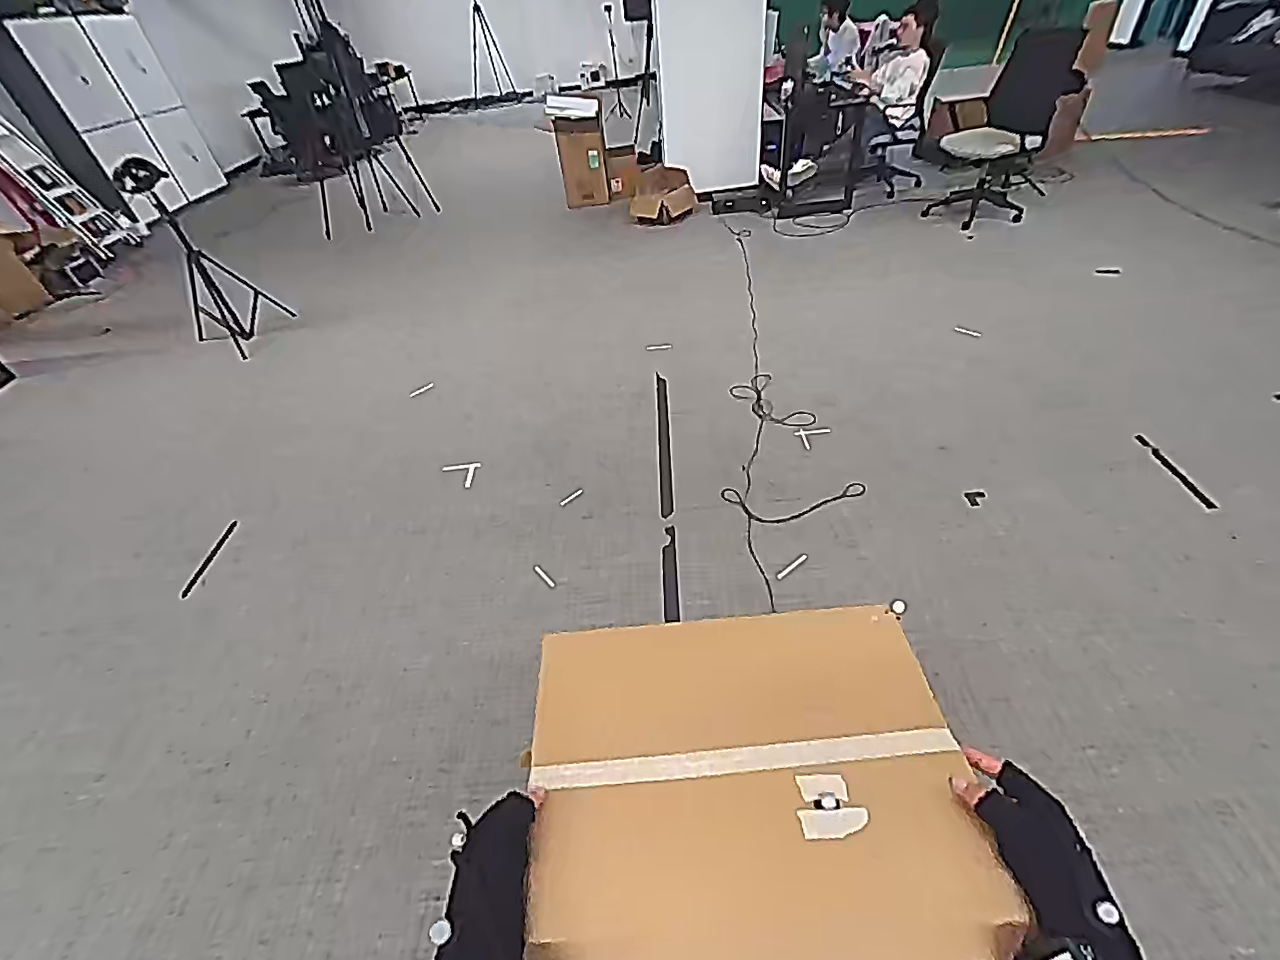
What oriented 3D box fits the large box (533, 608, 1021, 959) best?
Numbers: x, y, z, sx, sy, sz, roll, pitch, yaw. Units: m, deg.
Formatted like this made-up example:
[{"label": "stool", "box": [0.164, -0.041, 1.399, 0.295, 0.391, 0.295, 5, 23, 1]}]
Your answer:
[{"label": "large box", "box": [0.107, 0.386, 0.636, 0.408, 0.320, 0.320, -5, 43, 0]}]
